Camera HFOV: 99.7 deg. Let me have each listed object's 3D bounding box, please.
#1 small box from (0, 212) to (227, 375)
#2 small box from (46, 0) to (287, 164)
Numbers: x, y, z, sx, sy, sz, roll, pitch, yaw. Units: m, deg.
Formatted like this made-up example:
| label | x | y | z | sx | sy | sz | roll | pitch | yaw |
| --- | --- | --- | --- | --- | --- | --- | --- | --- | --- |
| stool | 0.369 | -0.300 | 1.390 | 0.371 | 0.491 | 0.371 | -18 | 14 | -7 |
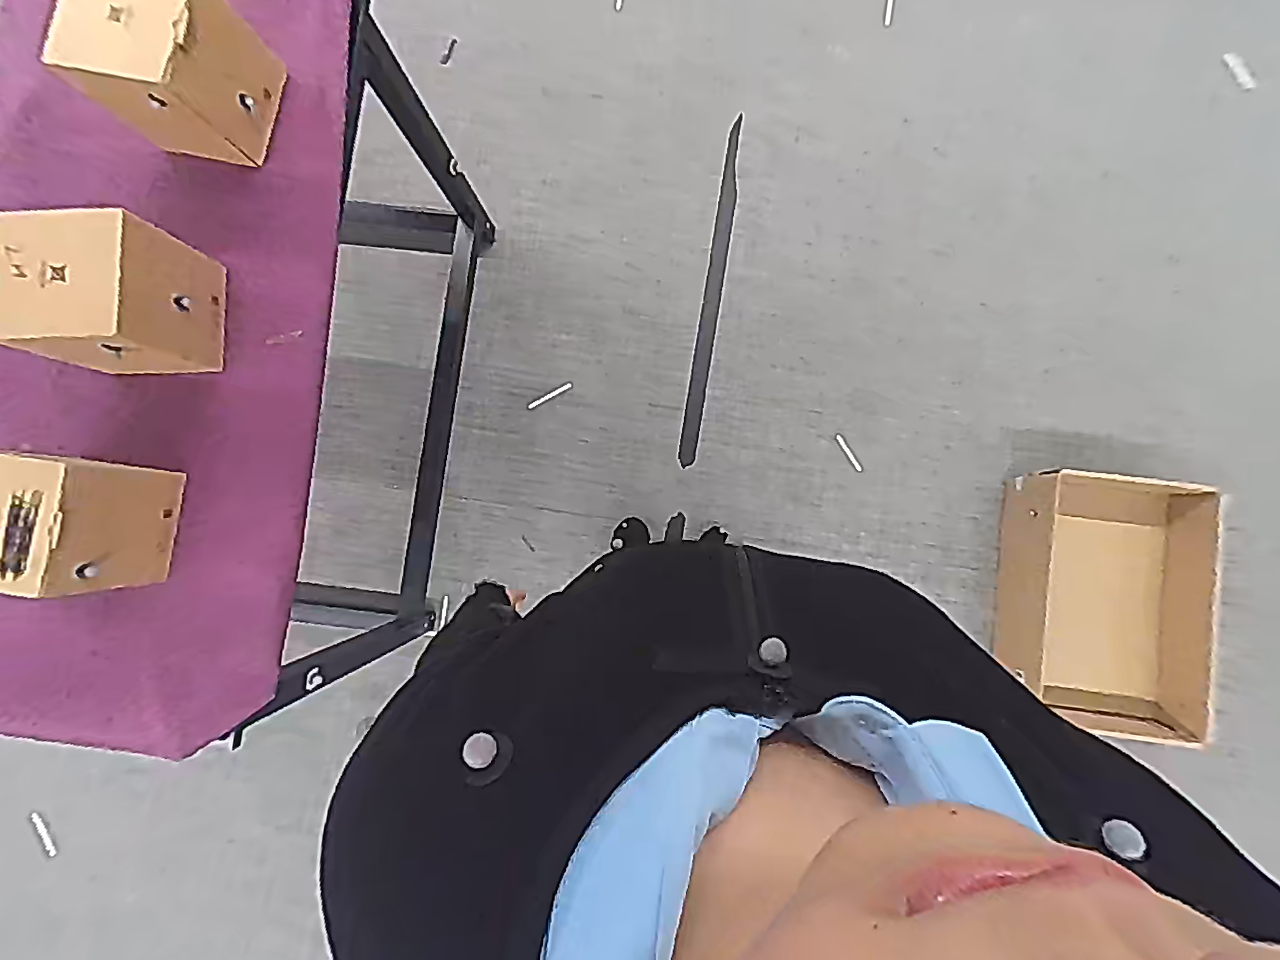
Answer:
| label | x | y | z | sx | sy | sz | roll | pitch | yaw |
| --- | --- | --- | --- | --- | --- | --- | --- | --- | --- |
| small box | -0.721 | -0.249 | 0.753 | 0.179 | 0.176 | 0.168 | -1 | 85 | 2 |
| small box | -0.659 | -0.588 | 0.775 | 0.179 | 0.176 | 0.168 | 12 | 87 | 4 |
